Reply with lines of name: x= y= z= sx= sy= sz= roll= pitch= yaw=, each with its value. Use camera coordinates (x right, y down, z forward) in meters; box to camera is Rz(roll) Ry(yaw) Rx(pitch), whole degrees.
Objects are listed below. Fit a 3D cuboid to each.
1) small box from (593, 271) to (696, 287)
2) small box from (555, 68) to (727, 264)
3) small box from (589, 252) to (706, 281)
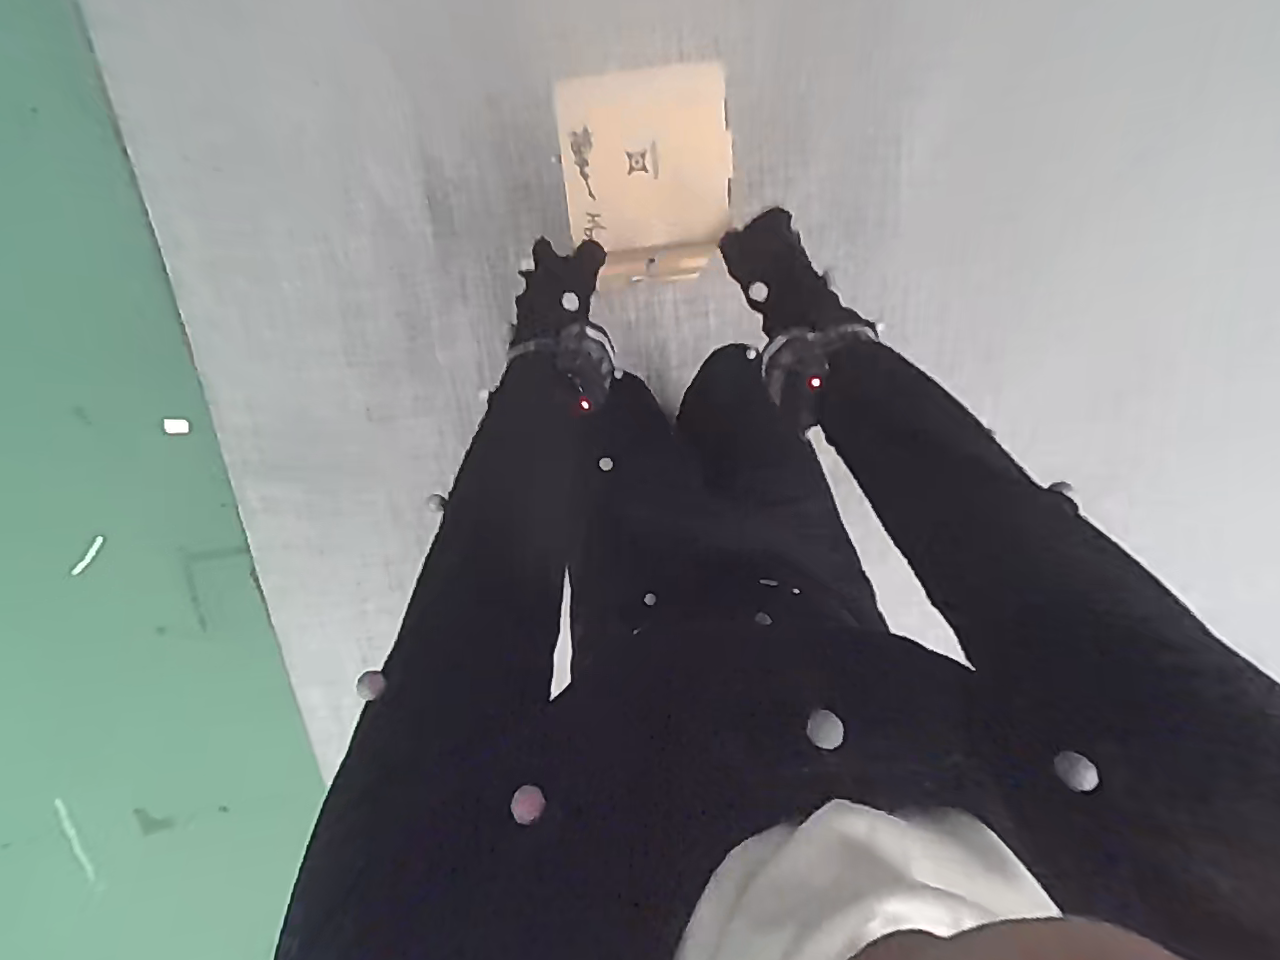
small box: x=0.004 y=-0.436 z=0.959 sx=0.179 sy=0.176 sz=0.168 roll=-3 pitch=107 yaw=-1
small box: x=0.003 y=-0.356 z=0.643 sx=0.179 sy=0.176 sz=0.168 roll=-4 pitch=106 yaw=1
small box: x=0.005 y=-0.398 z=0.801 sx=0.168 sy=0.176 sz=0.179 roll=-4 pitch=108 yaw=3
